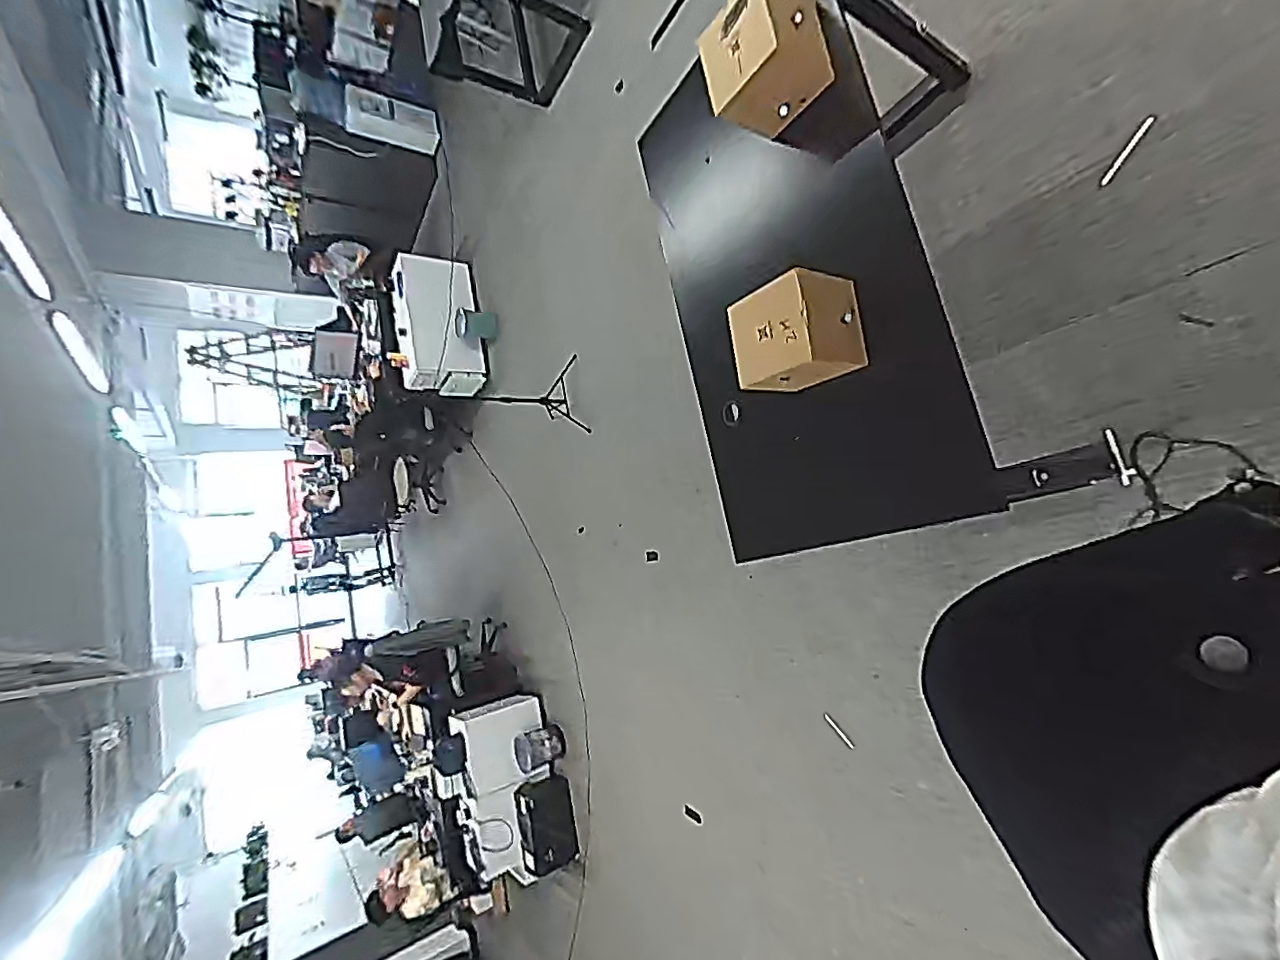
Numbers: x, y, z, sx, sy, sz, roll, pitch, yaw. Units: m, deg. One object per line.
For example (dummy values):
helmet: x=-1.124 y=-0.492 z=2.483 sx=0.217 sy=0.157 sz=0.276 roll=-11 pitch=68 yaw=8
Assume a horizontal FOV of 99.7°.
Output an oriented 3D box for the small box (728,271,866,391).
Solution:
small box: x=0.297 y=-0.271 z=1.031 sx=0.179 sy=0.176 sz=0.168 roll=-16 pitch=81 yaw=54

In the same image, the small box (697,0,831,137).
small box: x=0.239 y=-0.811 z=1.048 sx=0.168 sy=0.176 sz=0.179 roll=-22 pitch=77 yaw=54
